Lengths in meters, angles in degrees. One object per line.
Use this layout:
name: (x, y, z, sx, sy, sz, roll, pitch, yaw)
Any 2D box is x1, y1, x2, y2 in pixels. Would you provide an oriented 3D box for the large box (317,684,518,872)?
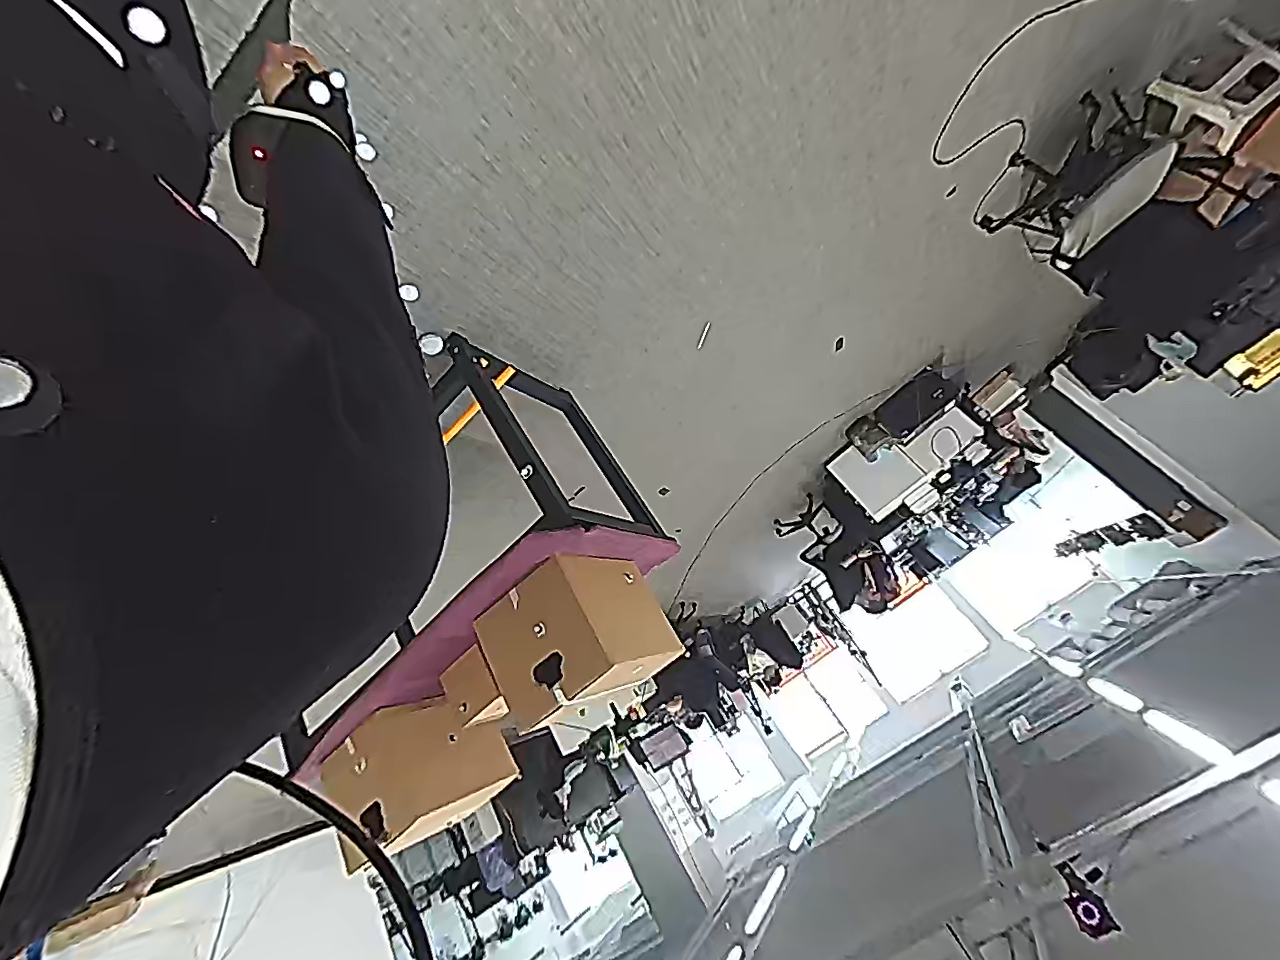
large box: (-0.662, 0.863, 1.629, 0.320, 0.320, 0.408, -42, 155, 15)
